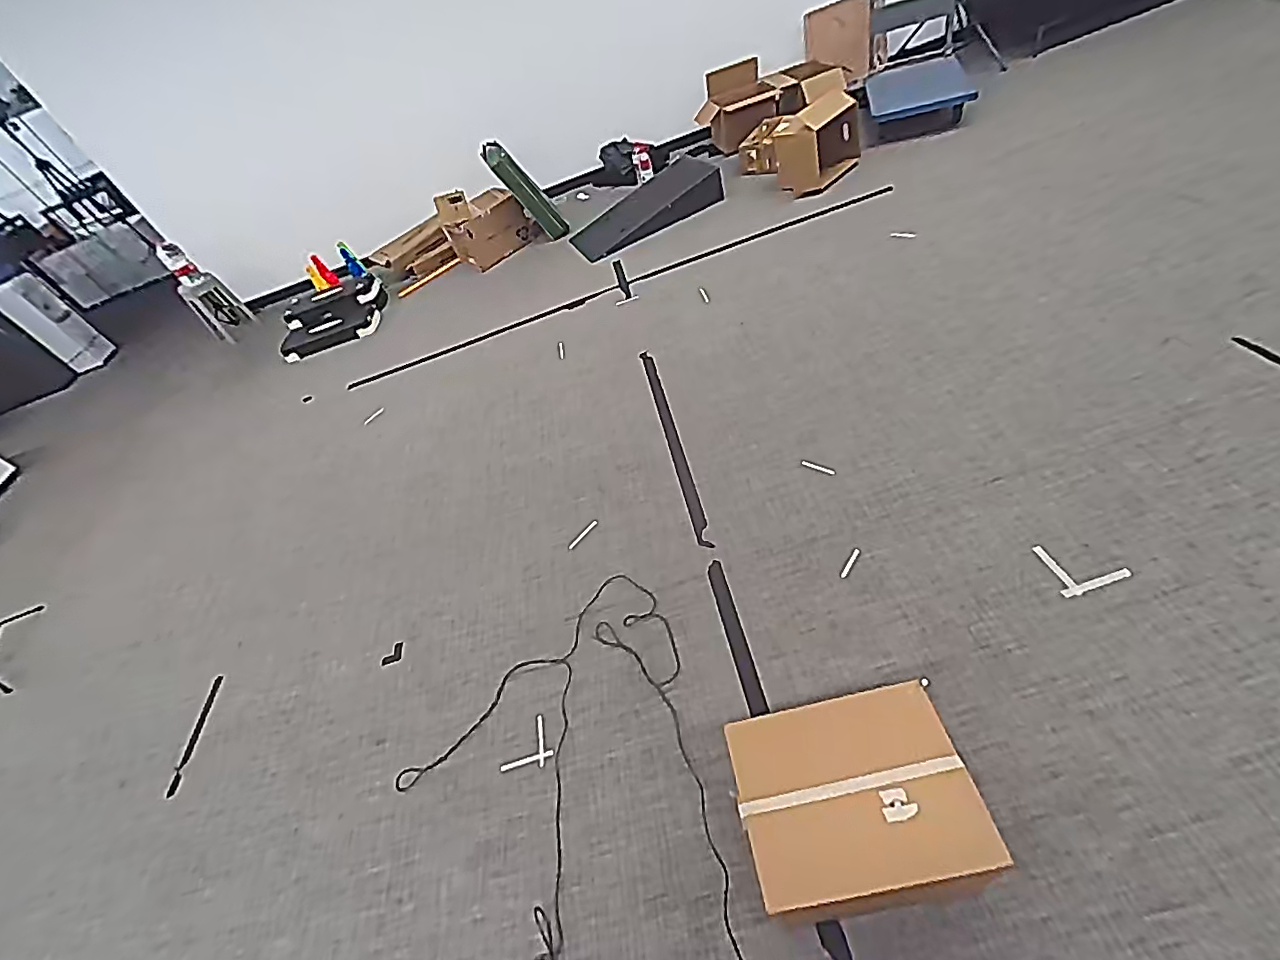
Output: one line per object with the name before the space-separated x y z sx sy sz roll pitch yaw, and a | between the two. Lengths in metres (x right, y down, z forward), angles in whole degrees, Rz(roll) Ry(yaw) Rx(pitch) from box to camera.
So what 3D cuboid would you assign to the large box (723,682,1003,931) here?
large box | 0.417 0.666 1.097 0.408 0.320 0.320 -16 45 5
